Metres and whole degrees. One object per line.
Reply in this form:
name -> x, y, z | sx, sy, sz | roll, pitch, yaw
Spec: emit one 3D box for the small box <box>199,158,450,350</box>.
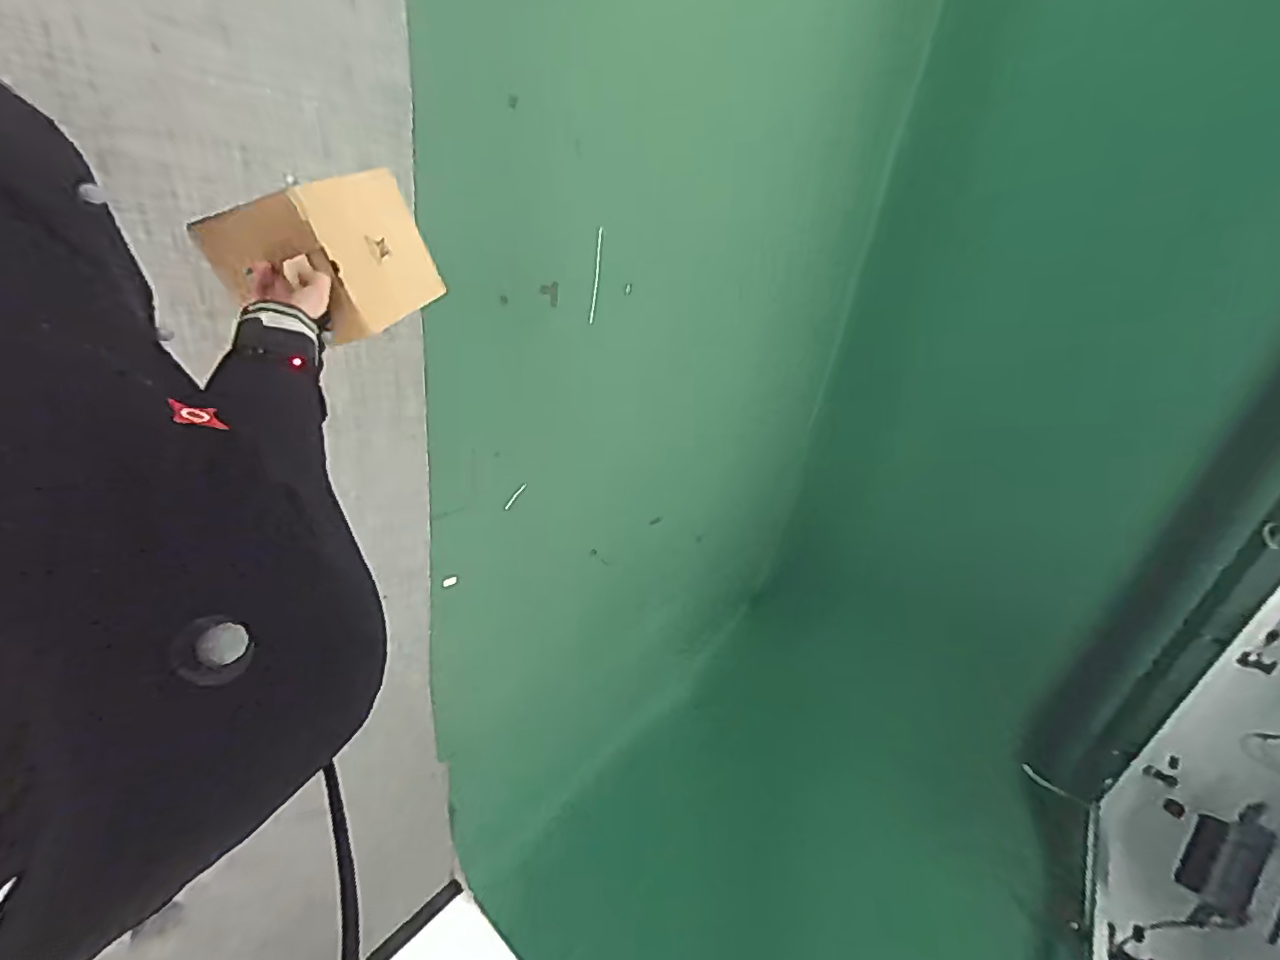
small box -> -0.381, -0.280, 0.676 | 0.179, 0.176, 0.168 | -68, 147, -50
